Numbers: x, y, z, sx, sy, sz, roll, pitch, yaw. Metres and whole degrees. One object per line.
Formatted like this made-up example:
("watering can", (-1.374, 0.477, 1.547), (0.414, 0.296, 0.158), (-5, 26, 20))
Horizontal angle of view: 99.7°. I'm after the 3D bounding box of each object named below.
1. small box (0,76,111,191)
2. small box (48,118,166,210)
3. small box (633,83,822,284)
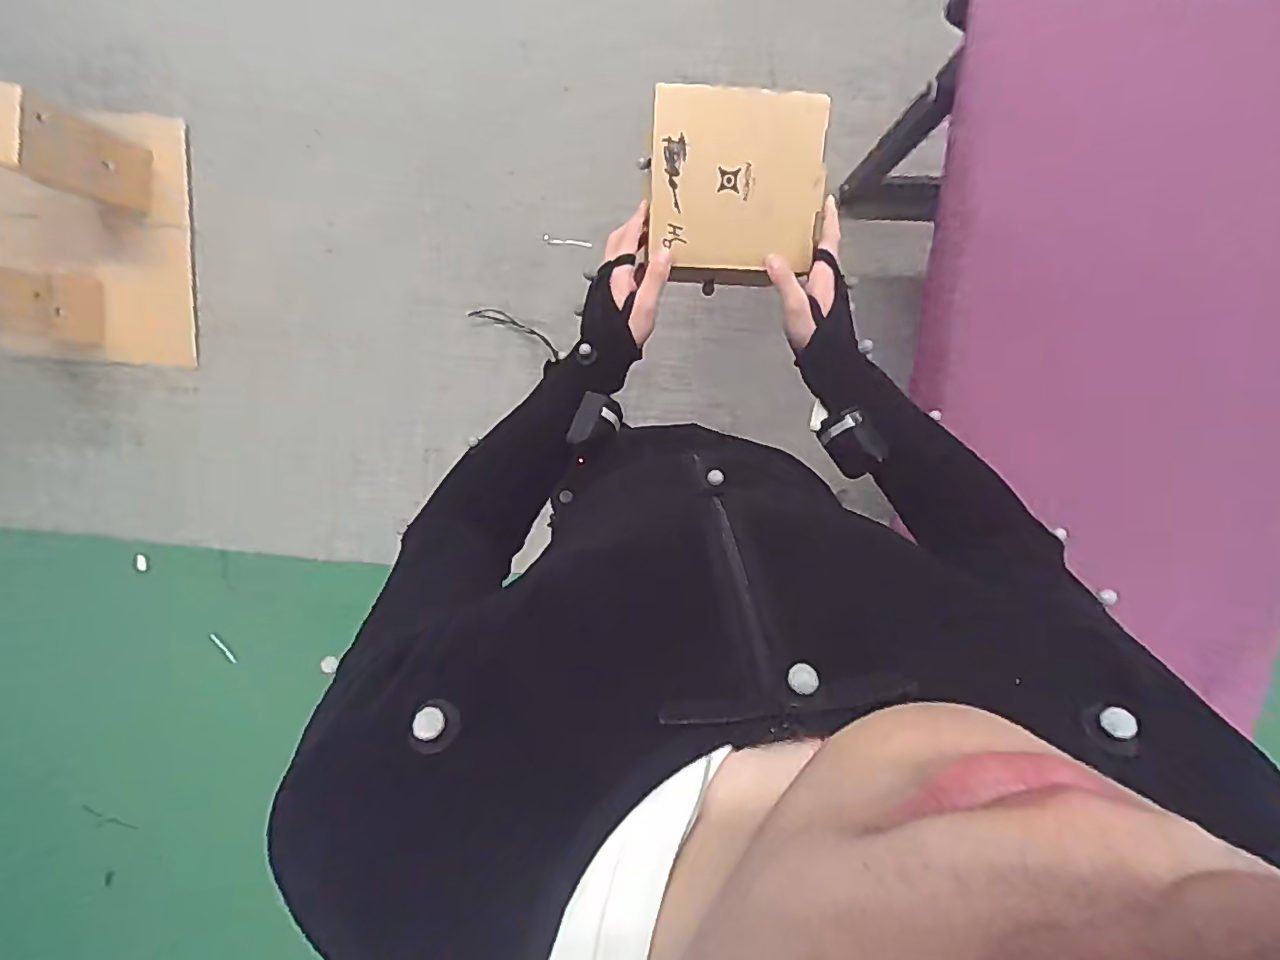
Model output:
("small box", (-1.450, -0.841, 1.316), (0.168, 0.176, 0.179), (15, 100, 1))
("small box", (-1.450, -0.868, 1.479), (0.168, 0.176, 0.179), (11, 100, 1))
("small box", (0.086, -0.323, 0.624), (0.179, 0.176, 0.168), (1, 105, -3))
